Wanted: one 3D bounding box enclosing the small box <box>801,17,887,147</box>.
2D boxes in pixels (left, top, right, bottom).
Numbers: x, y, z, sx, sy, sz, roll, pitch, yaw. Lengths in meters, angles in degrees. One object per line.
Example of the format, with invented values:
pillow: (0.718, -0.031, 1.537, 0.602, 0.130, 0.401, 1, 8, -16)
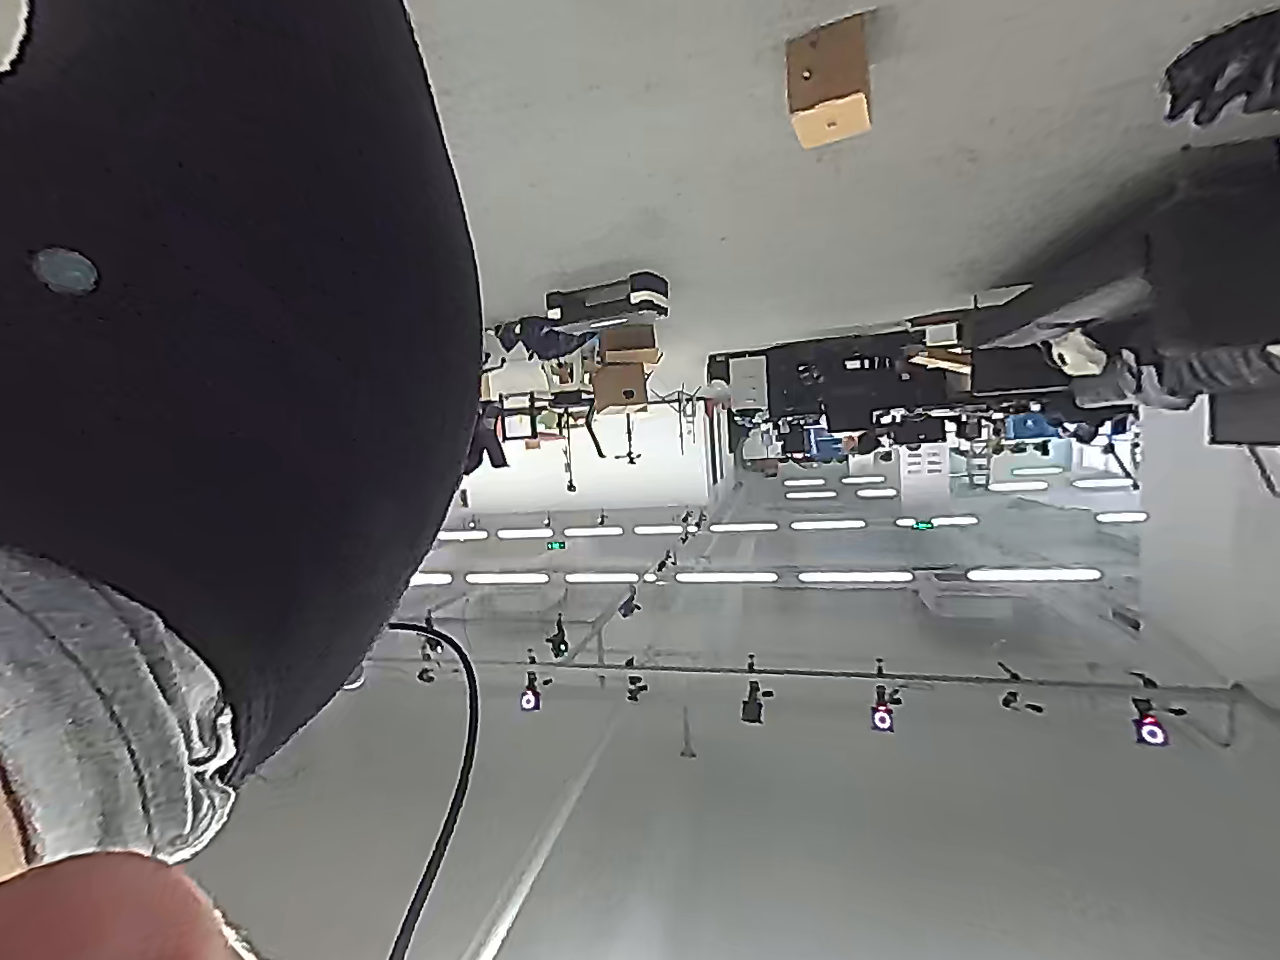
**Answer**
small box: (0.474, -0.917, 1.249, 0.168, 0.176, 0.179, 1, -172, 30)
